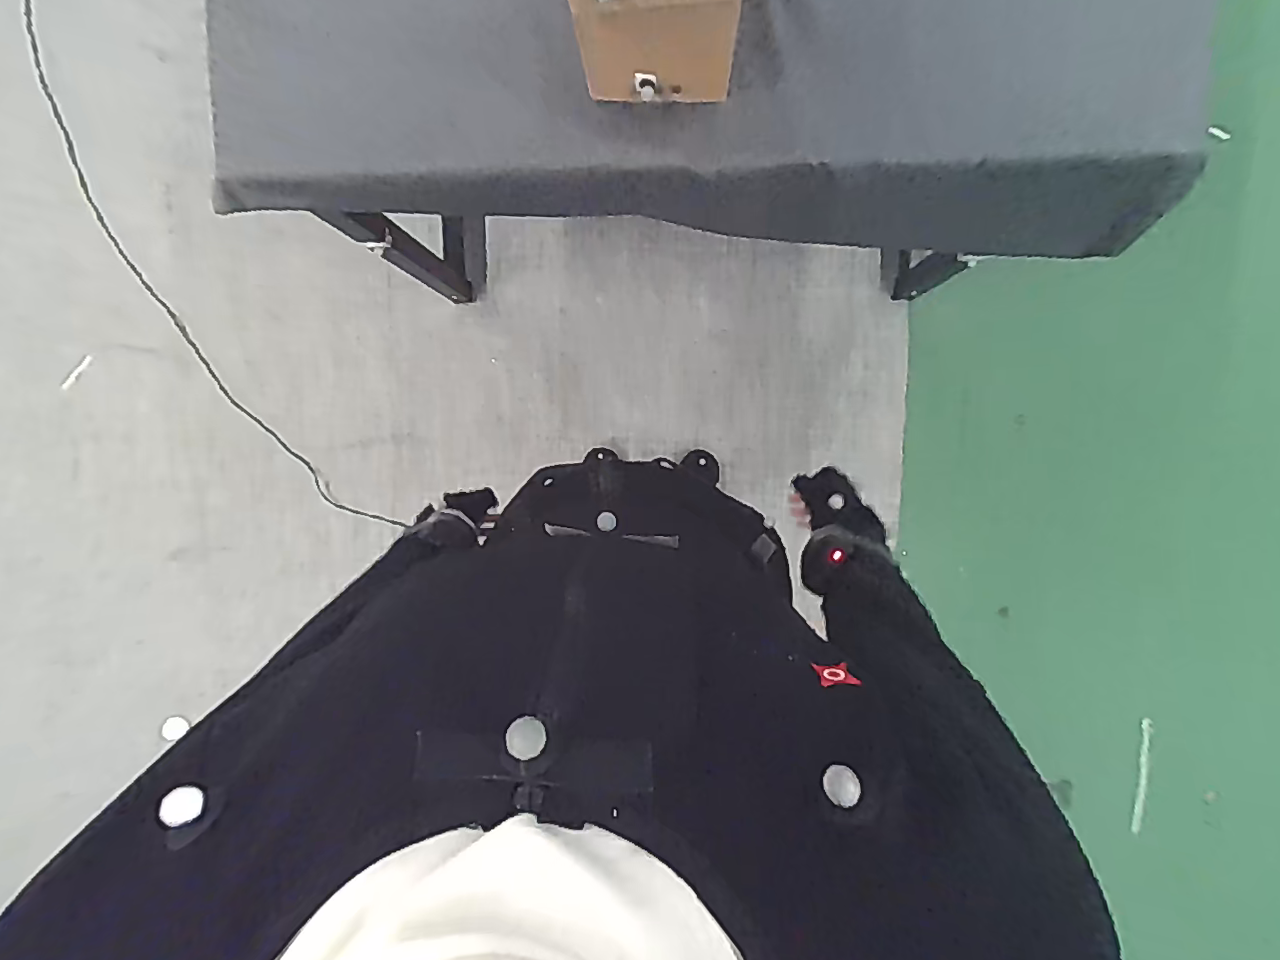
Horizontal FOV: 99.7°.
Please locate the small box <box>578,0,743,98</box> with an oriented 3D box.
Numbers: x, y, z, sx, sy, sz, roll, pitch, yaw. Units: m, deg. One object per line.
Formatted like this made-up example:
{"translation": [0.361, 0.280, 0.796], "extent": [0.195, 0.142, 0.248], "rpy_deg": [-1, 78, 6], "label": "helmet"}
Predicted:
{"translation": [0.023, -0.550, 0.576], "extent": [0.168, 0.176, 0.179], "rpy_deg": [1, 95, 4], "label": "small box"}
